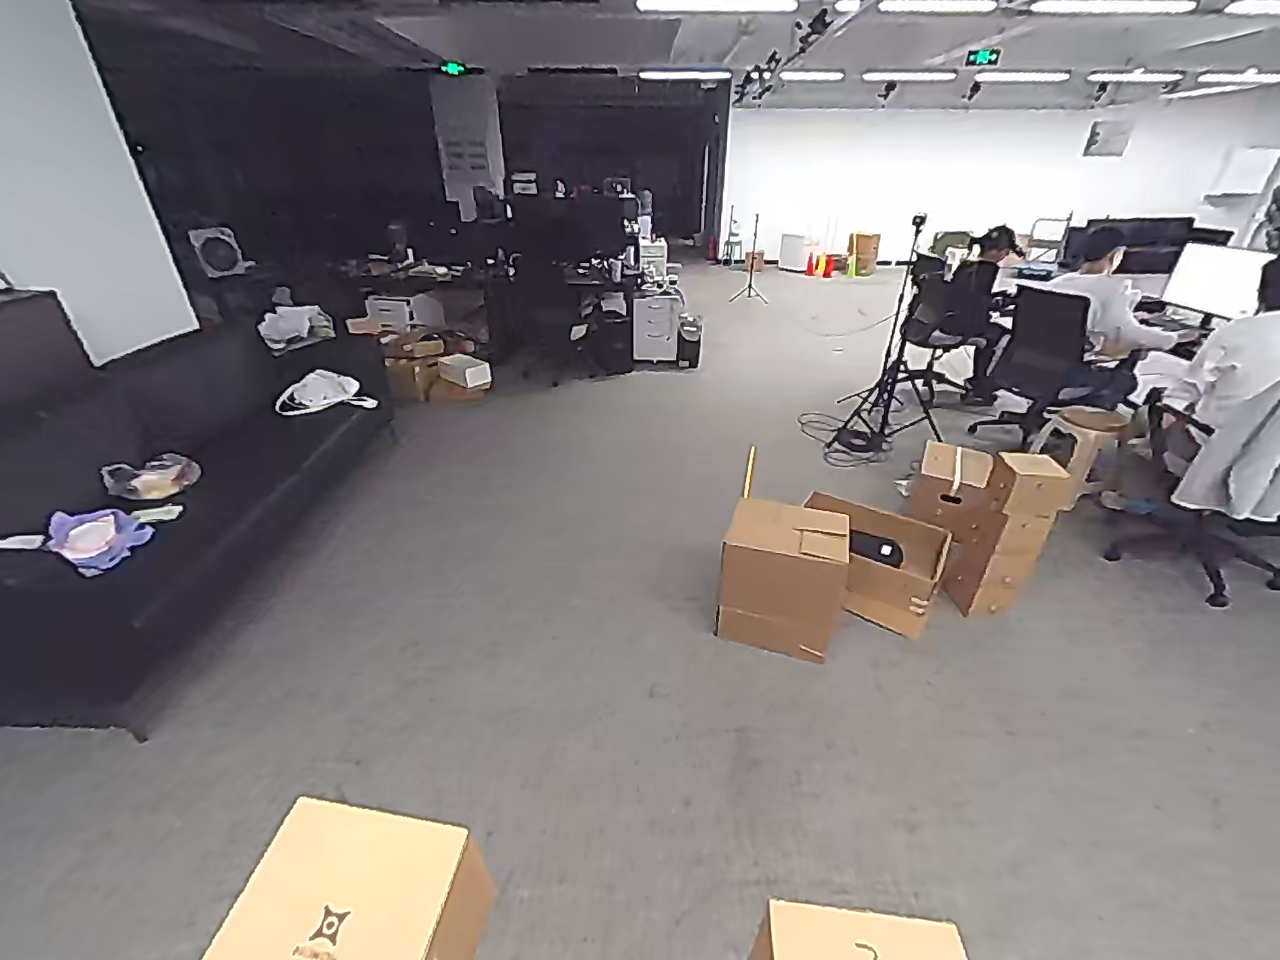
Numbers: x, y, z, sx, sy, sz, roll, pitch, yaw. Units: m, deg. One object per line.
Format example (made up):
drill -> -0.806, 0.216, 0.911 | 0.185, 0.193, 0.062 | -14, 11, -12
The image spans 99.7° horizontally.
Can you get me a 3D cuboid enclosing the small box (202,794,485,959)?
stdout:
small box -> -0.247, 0.415, 0.473 | 0.168, 0.176, 0.179 | 8, 41, 5
